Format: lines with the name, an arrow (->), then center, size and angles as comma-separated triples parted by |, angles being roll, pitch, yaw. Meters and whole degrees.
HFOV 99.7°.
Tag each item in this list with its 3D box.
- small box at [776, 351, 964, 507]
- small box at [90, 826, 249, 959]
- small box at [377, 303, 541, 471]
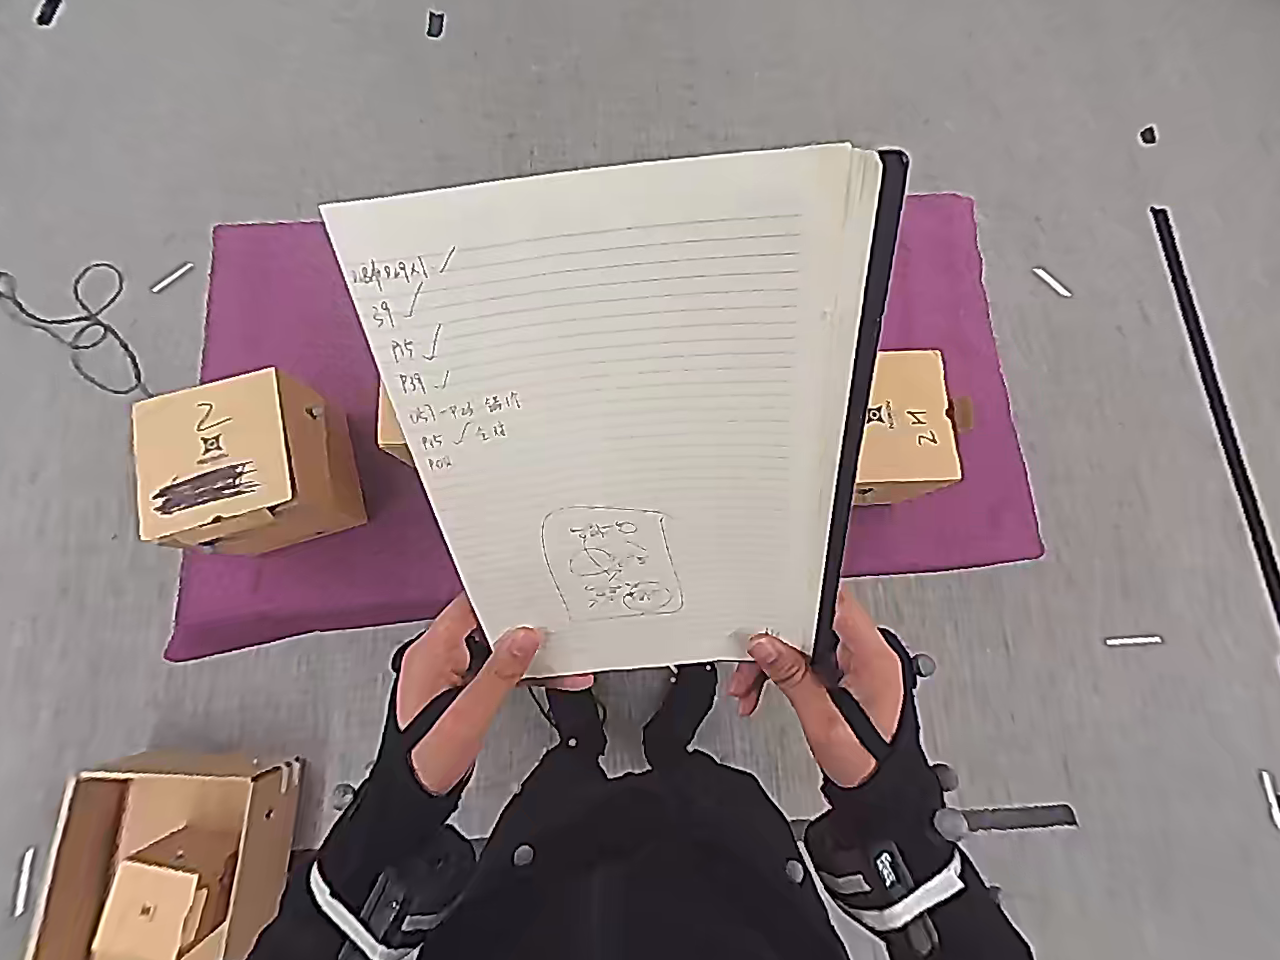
small box -> 0.286, -0.058, 0.716 | 0.179, 0.176, 0.168 | -1, 78, -2
small box -> -1.011, 0.890, 1.182 | 0.179, 0.176, 0.168 | 11, 78, 1
small box -> -0.225, -0.111, 0.717 | 0.168, 0.176, 0.179 | -2, 77, -2
